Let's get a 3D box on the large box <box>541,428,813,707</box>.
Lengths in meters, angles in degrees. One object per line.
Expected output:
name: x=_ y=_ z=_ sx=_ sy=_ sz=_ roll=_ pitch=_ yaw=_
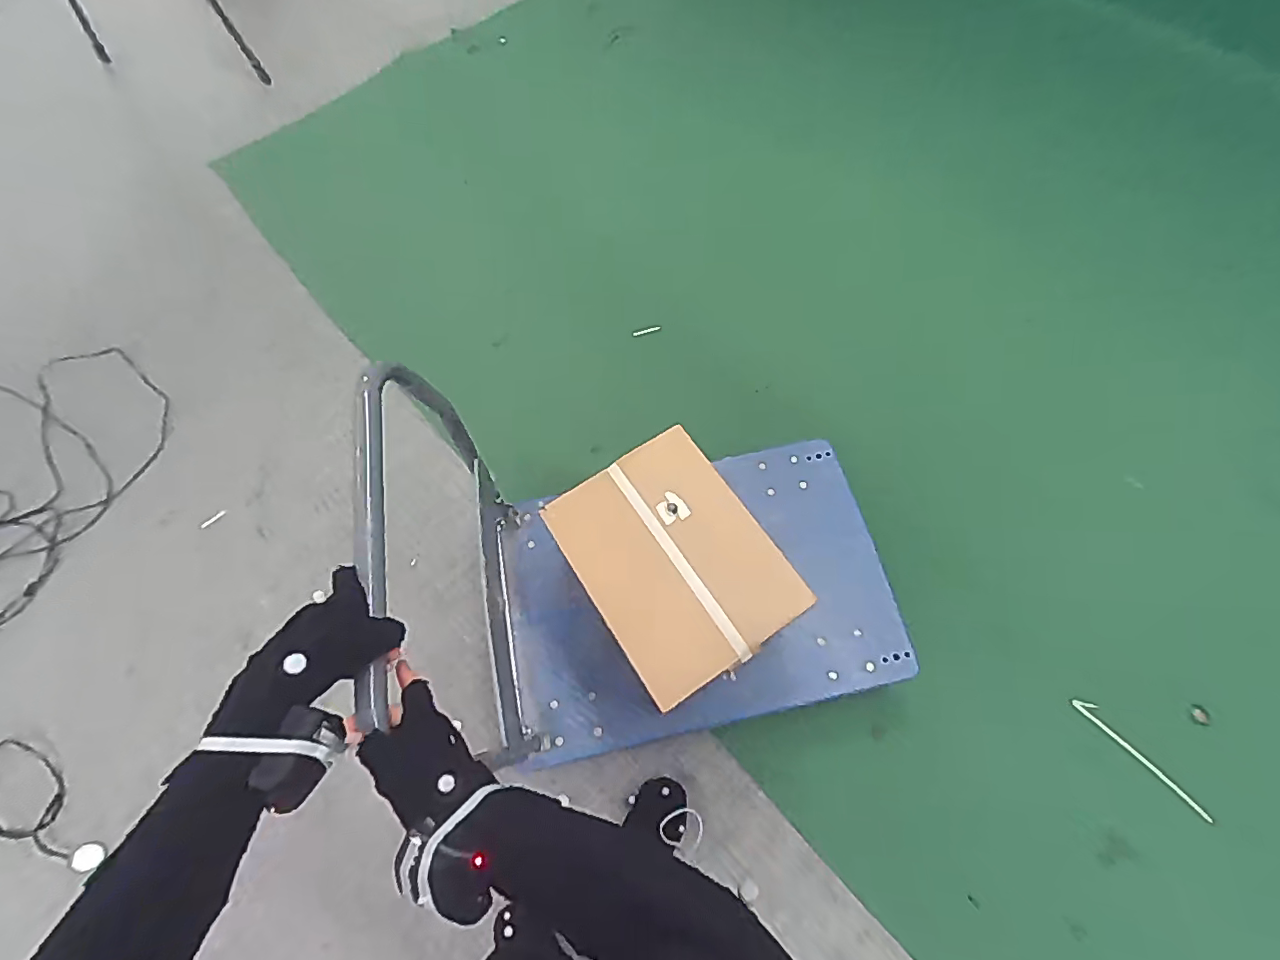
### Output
large box: x=0.064 y=0.184 z=1.070 sx=0.320 sy=0.320 sz=0.408 roll=-31 pitch=68 yaw=-11
